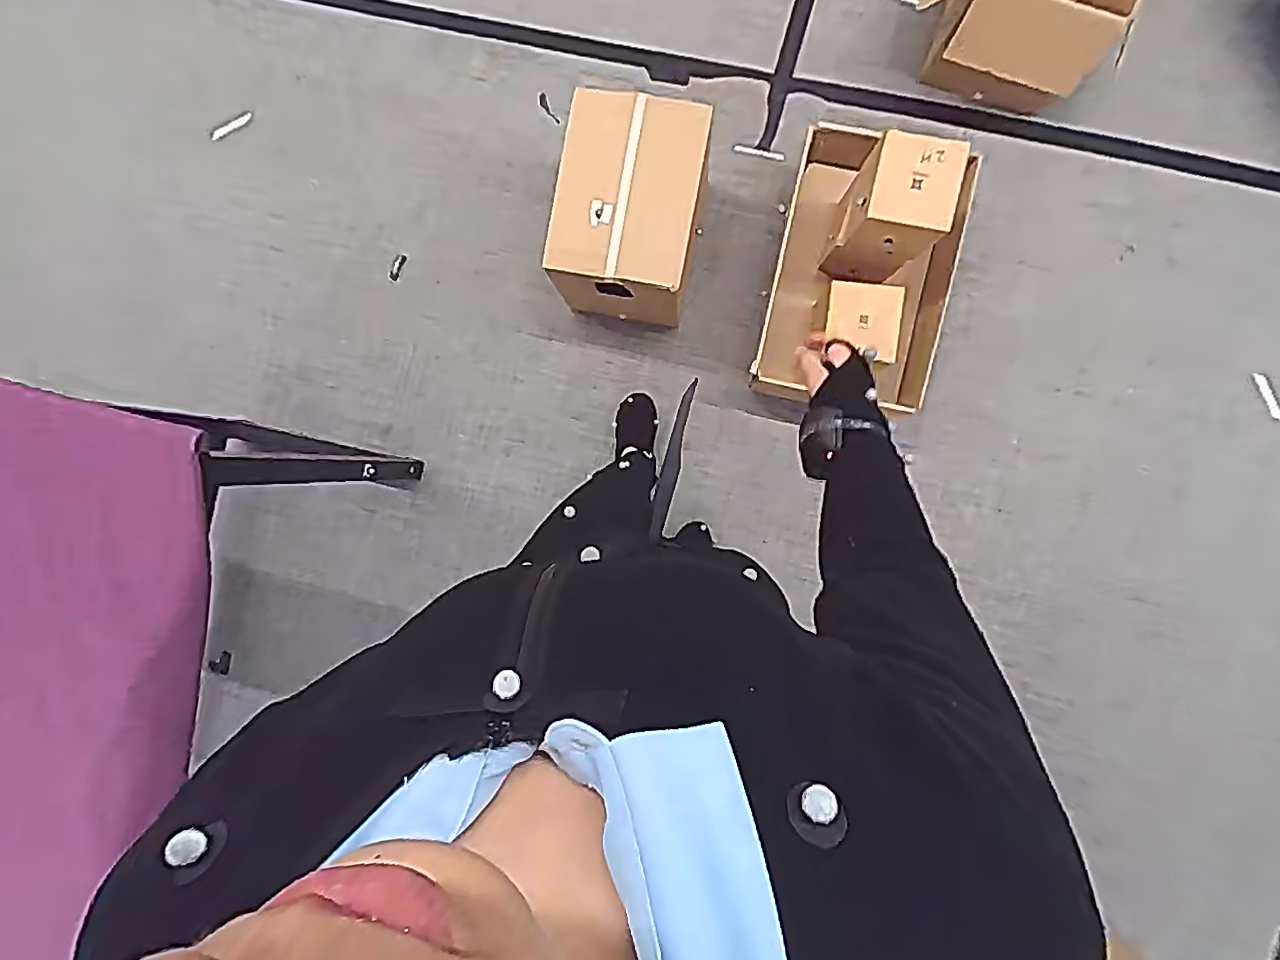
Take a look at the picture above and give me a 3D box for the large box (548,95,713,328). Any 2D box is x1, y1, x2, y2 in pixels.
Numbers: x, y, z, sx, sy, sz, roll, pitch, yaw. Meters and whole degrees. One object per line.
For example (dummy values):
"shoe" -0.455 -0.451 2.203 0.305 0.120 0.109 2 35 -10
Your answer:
"large box" -0.013 -0.630 1.327 0.320 0.320 0.408 11 92 5

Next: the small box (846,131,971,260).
"small box" 0.551 -0.586 1.138 0.168 0.176 0.179 13 93 3
